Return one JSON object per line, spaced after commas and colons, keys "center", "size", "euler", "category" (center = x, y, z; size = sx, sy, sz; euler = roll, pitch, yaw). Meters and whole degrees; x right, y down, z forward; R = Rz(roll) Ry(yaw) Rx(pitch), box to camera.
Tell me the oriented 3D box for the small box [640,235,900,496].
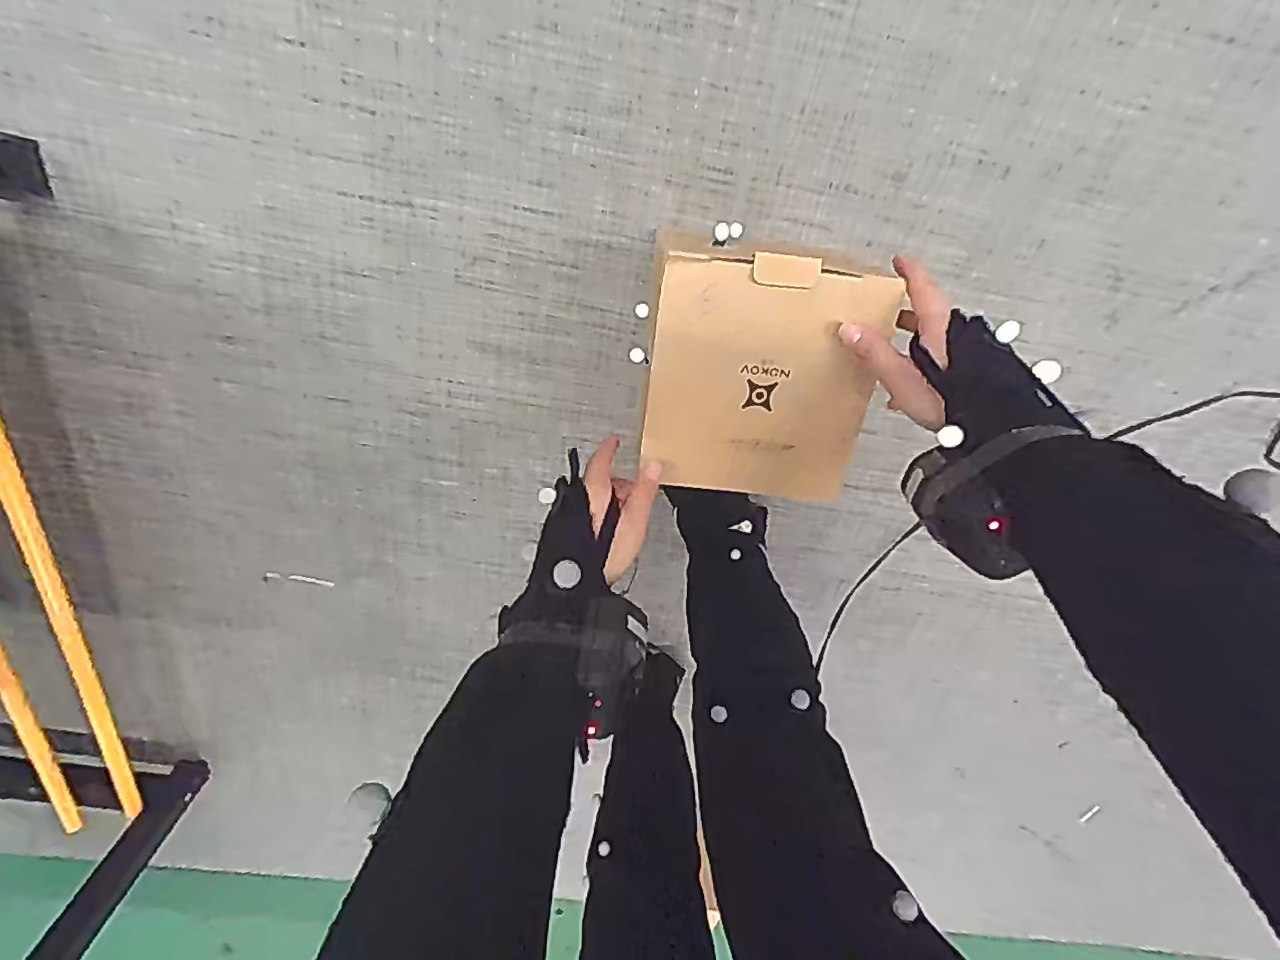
{"center": [0.088, -0.107, 0.470], "size": [0.168, 0.176, 0.179], "euler": [5, 120, -2], "category": "small box"}
